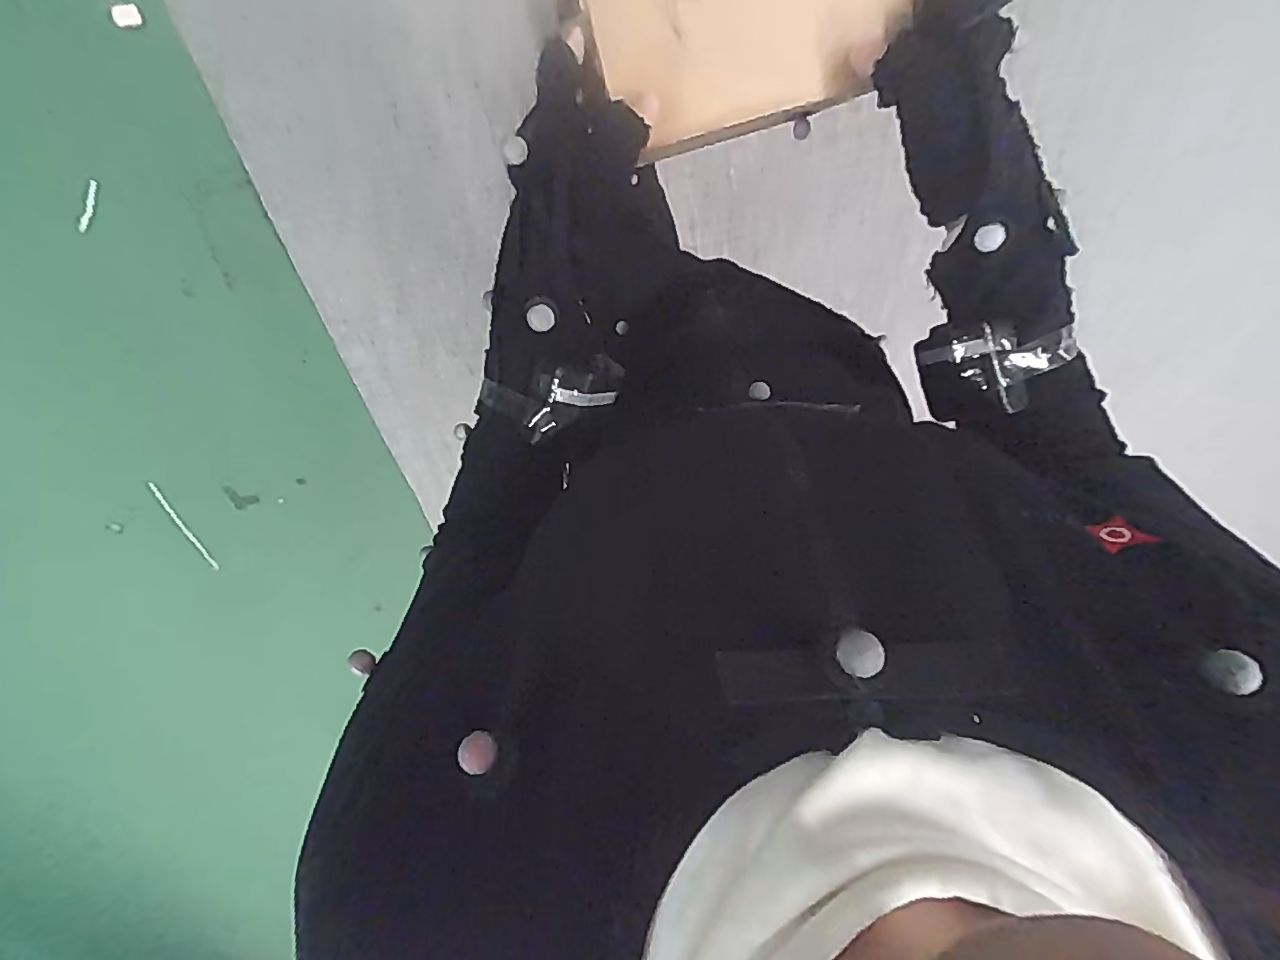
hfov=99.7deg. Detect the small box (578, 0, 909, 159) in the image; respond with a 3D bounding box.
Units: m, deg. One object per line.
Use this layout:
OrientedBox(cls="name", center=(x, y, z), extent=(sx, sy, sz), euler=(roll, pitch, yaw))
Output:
OrientedBox(cls="small box", center=(0.048, -0.328, 0.353), extent=(0.179, 0.176, 0.168), euler=(-14, 116, 6))
